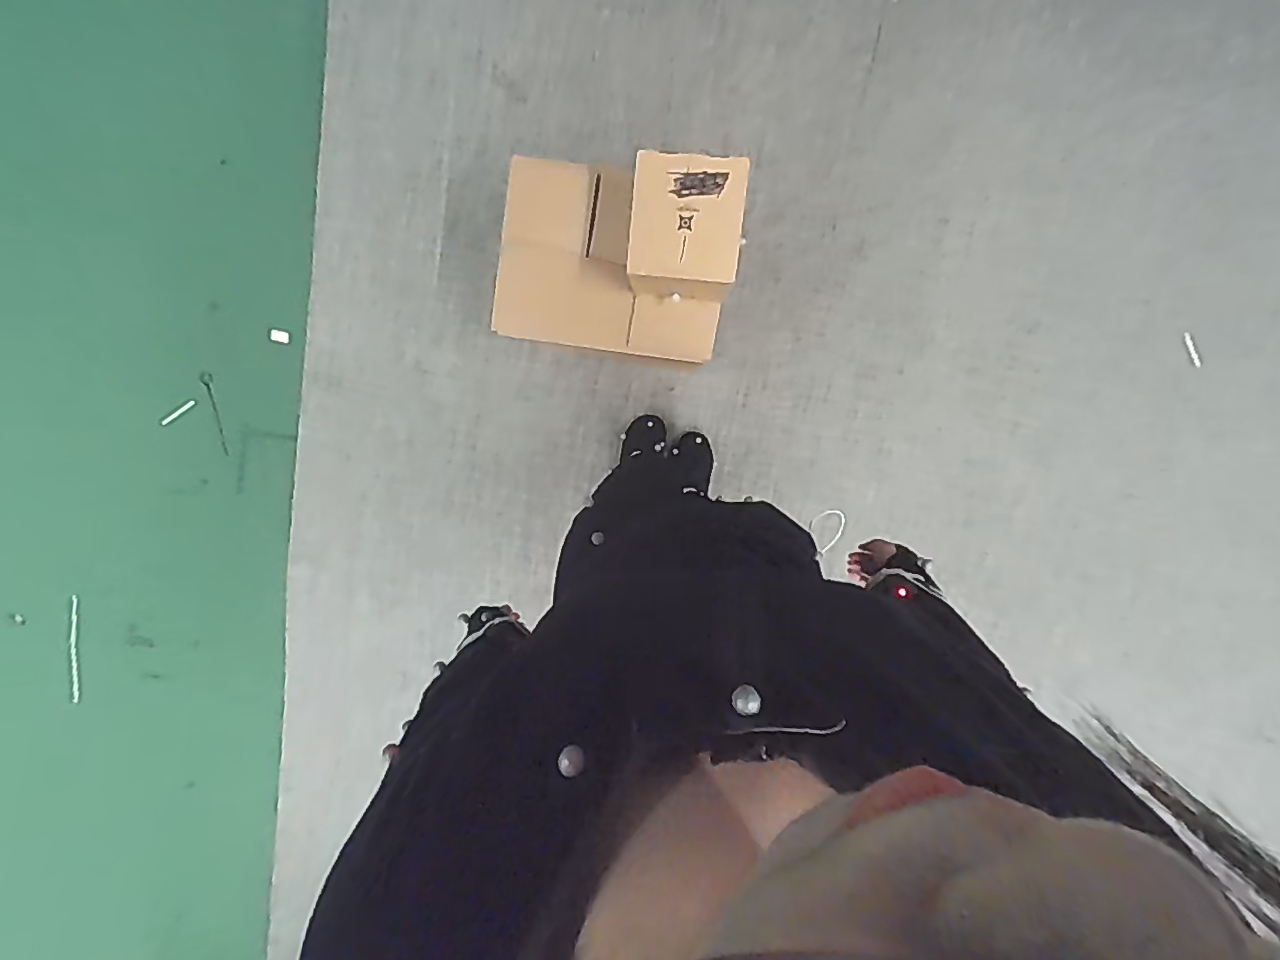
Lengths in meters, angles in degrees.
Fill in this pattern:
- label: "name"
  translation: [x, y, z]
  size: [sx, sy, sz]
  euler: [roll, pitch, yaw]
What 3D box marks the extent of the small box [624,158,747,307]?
- label: "small box"
  translation: [0.071, -0.391, 0.881]
  size: [0.168, 0.176, 0.179]
  euler: [7, 100, 3]
